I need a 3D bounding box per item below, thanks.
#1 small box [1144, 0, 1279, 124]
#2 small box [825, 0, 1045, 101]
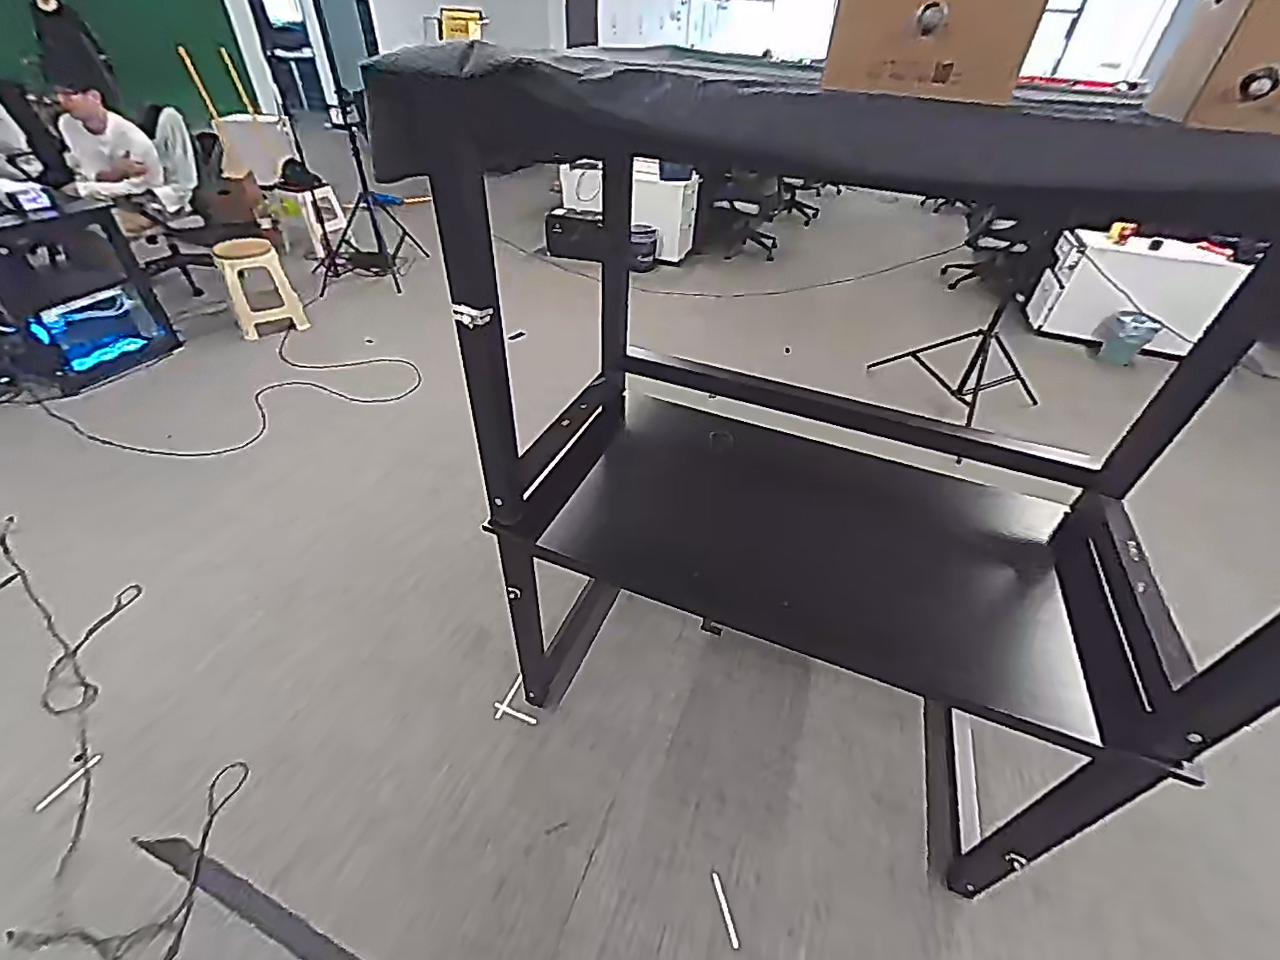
[{"bbox_3d":[0.562,-0.385,0.431,0.168,0.176,0.179,20,41,18],"label":"small box"},{"bbox_3d":[0.284,-0.467,0.505,0.168,0.176,0.179,17,40,16],"label":"small box"}]
